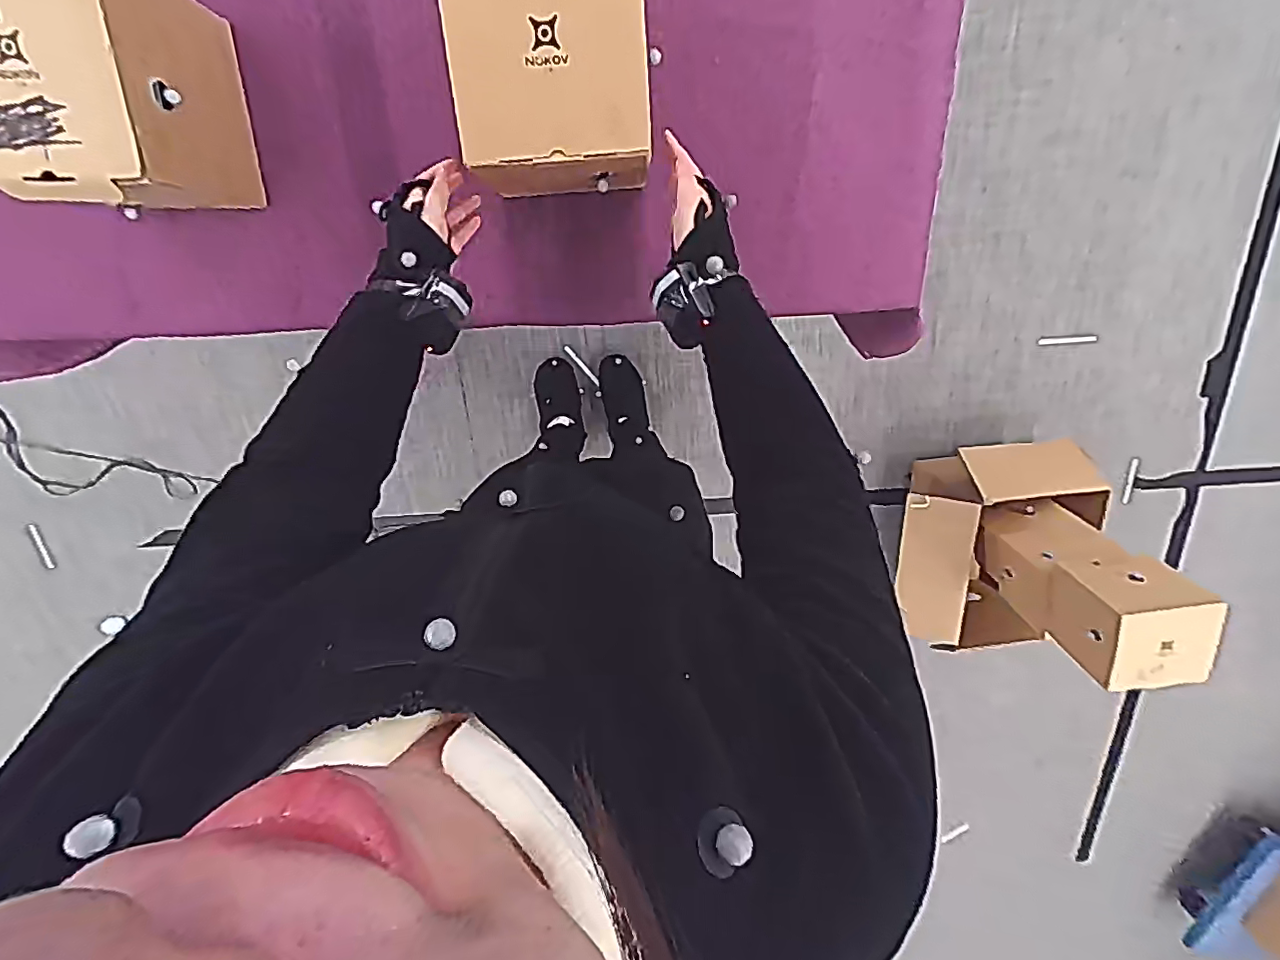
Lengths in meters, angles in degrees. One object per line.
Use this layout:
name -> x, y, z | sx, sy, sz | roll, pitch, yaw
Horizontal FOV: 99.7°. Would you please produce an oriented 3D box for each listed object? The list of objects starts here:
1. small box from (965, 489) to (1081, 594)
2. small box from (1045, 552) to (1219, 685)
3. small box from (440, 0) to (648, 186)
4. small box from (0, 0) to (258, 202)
small box -> 0.929, 0.141, 1.322 | 0.168, 0.176, 0.179 | -23, 112, 10
small box -> 0.899, 0.248, 1.010 | 0.168, 0.176, 0.179 | -9, 114, 6
small box -> -0.079, -0.388, 0.513 | 0.168, 0.176, 0.179 | -4, 110, -1
small box -> -0.502, -0.367, 0.506 | 0.168, 0.176, 0.179 | -1, 109, -2
